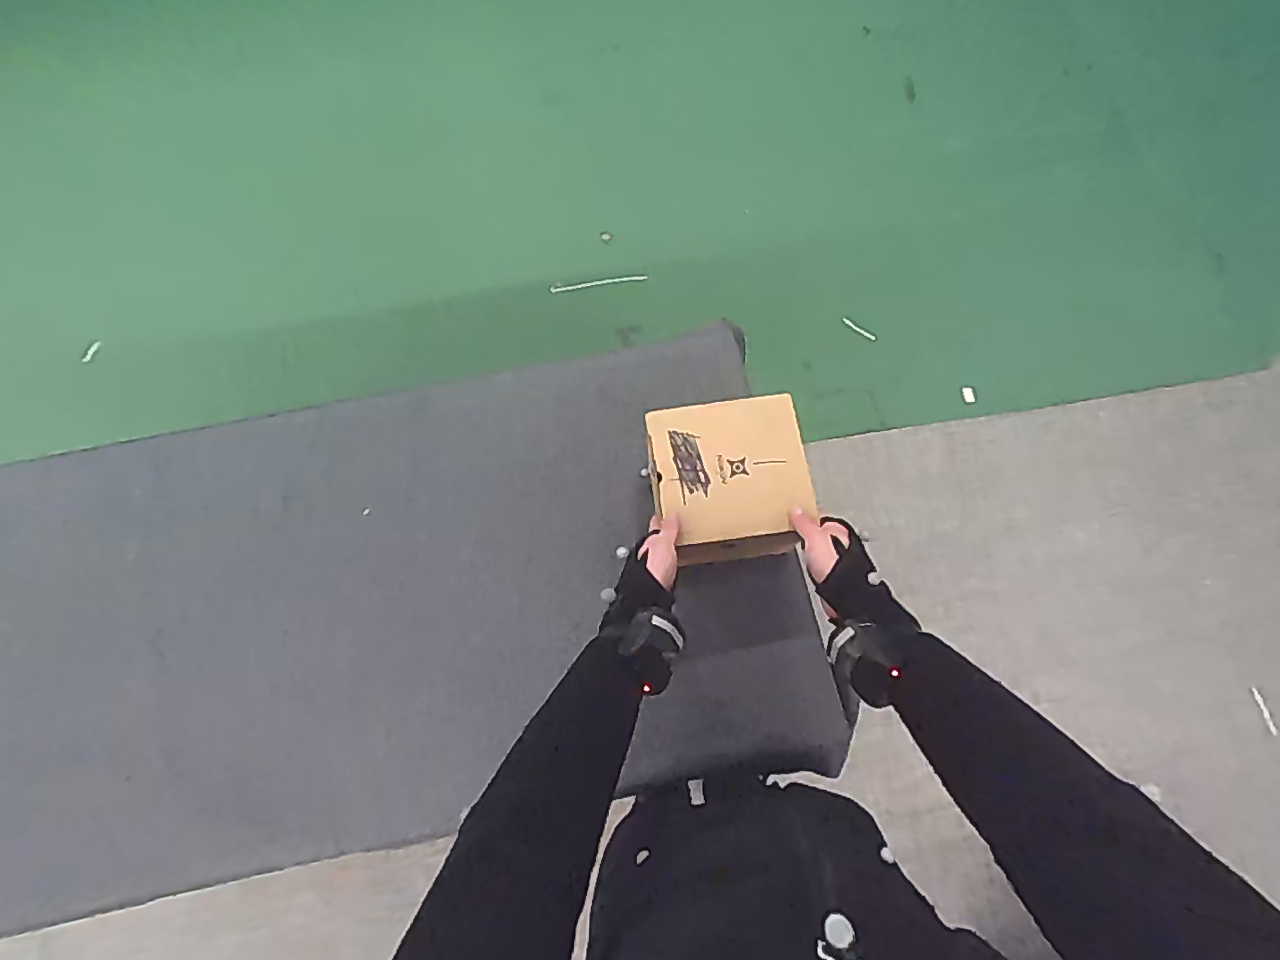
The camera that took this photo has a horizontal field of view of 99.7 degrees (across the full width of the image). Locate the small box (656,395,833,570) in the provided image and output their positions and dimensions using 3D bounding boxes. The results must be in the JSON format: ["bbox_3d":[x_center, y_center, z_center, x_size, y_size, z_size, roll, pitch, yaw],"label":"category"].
[{"bbox_3d":[0.114,0.012,0.679,0.179,0.176,0.168,-7,71,-3],"label":"small box"}]
